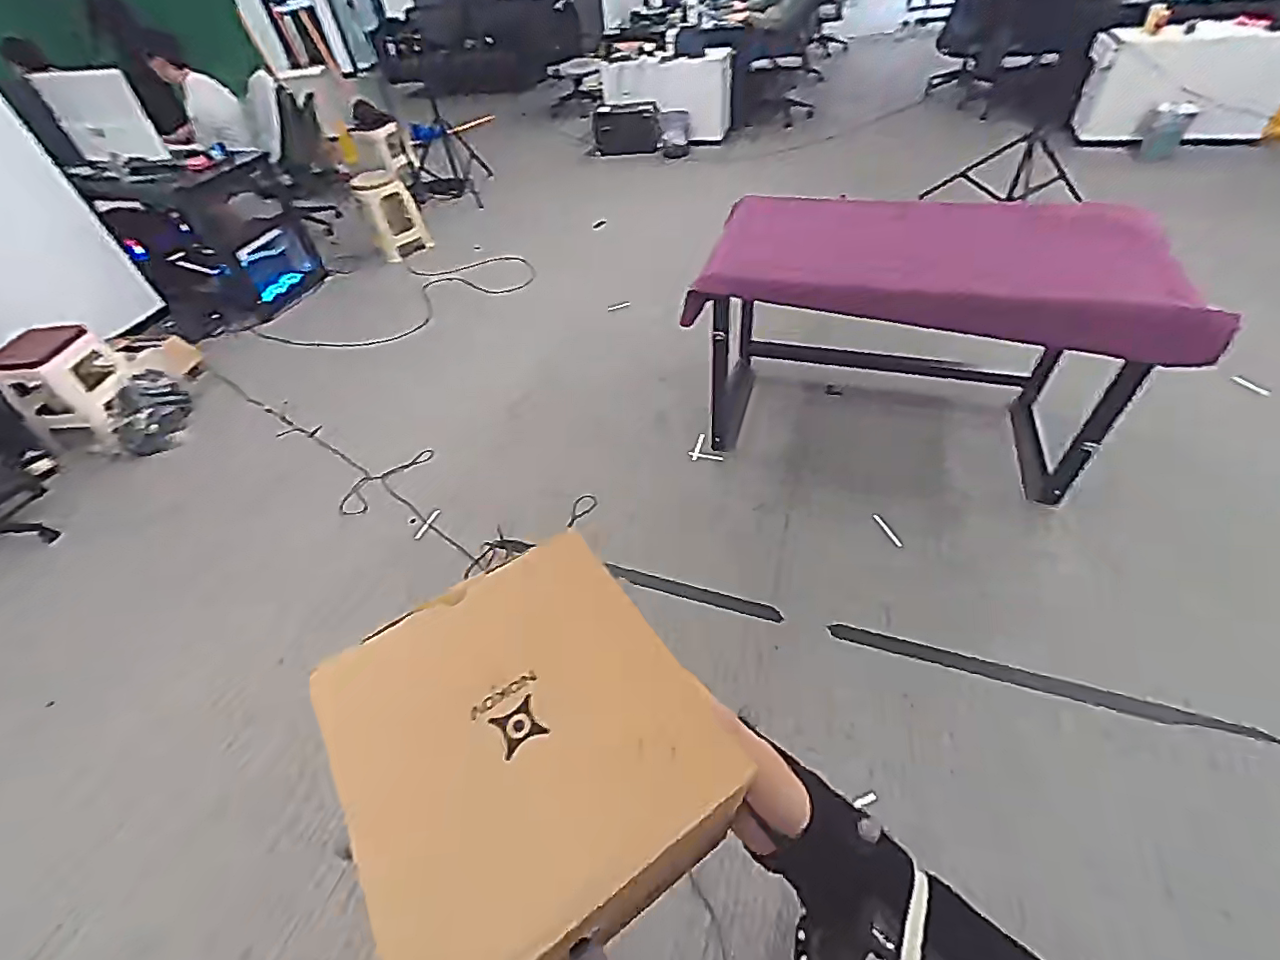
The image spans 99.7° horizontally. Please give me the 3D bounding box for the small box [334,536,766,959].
[{"bbox_3d":[-0.049,0.174,0.331,0.168,0.176,0.179,-27,51,-20],"label":"small box"}]
